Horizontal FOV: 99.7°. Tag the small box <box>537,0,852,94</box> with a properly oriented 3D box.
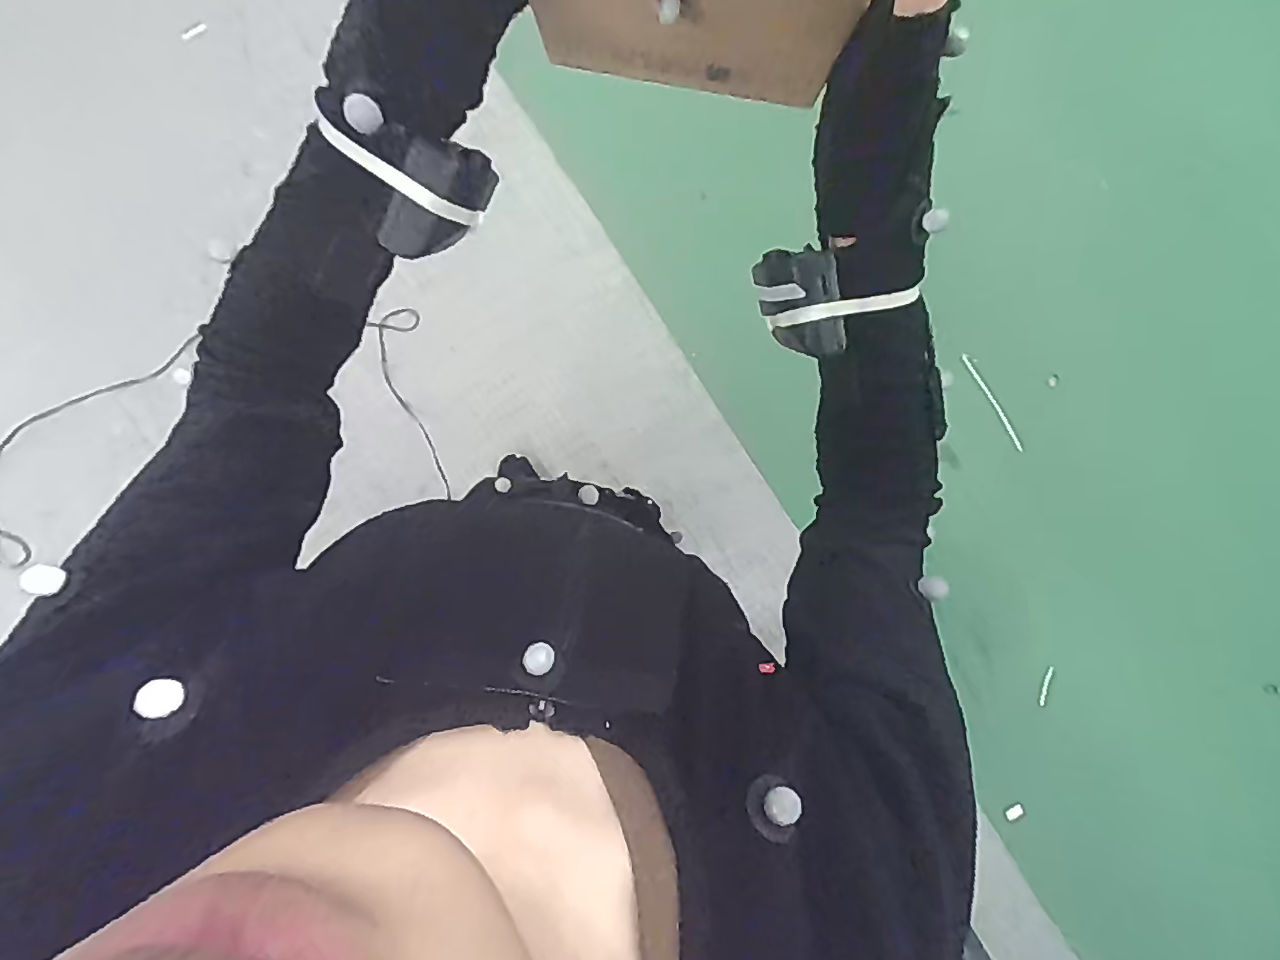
[{"bbox_3d":[0.034,-0.312,0.234,0.168,0.176,0.179,10,98,0],"label":"small box"}]
